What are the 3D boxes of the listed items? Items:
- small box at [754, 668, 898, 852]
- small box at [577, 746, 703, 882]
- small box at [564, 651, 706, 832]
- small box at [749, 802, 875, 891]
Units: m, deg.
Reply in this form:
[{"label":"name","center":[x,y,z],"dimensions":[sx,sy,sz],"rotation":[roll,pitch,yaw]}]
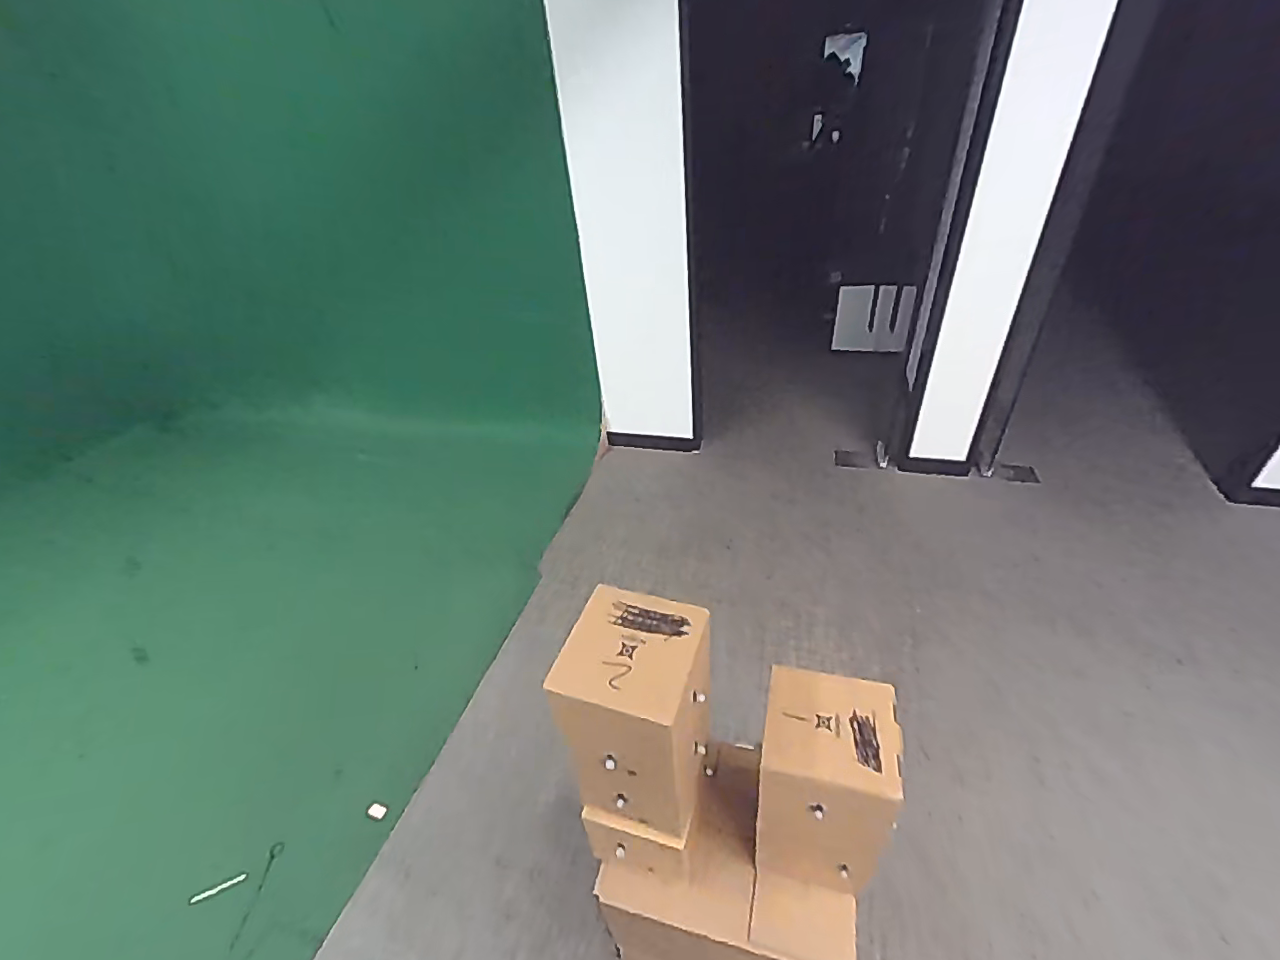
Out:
[{"label":"small box","center":[0.267,0.411,0.796],"dimensions":[0.179,0.176,0.168],"rotation":[5,37,18]},{"label":"small box","center":[0.011,0.543,0.924],"dimensions":[0.168,0.176,0.179],"rotation":[8,38,17]},{"label":"small box","center":[0.003,0.403,0.836],"dimensions":[0.168,0.176,0.179],"rotation":[10,39,18]},{"label":"small box","center":[0.279,0.542,0.893],"dimensions":[0.179,0.176,0.168],"rotation":[5,37,16]}]
